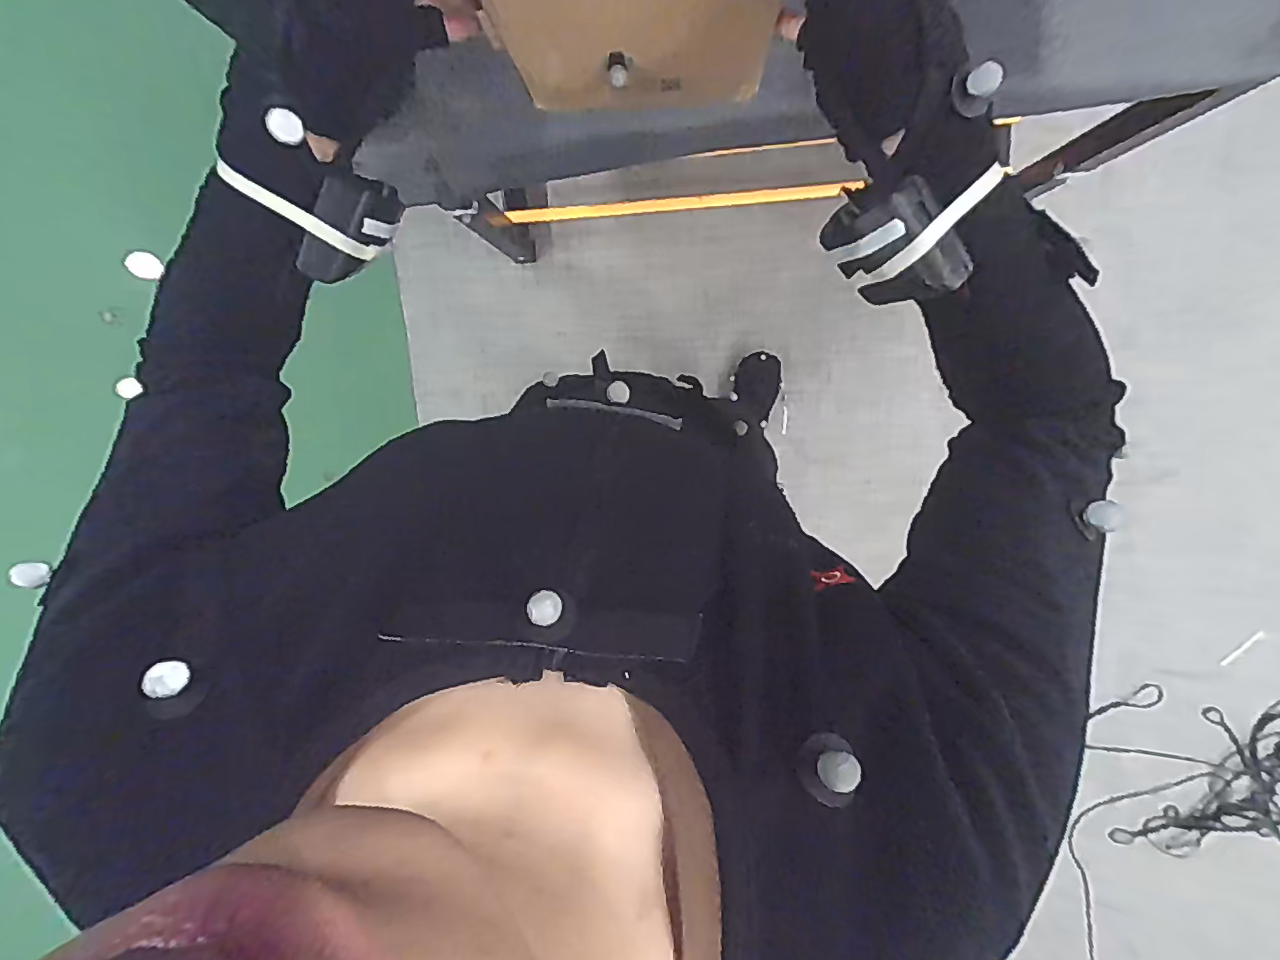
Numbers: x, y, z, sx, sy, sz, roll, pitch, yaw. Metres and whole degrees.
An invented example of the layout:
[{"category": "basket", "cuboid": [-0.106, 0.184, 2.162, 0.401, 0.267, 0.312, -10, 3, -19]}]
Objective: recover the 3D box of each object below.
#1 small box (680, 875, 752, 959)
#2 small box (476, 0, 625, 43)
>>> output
[{"category": "small box", "cuboid": [0.222, 1.333, 1.619, 0.179, 0.176, 0.168, 12, 100, 2]}, {"category": "small box", "cuboid": [-0.109, -0.598, 0.547, 0.168, 0.176, 0.179, -6, 100, 4]}]
